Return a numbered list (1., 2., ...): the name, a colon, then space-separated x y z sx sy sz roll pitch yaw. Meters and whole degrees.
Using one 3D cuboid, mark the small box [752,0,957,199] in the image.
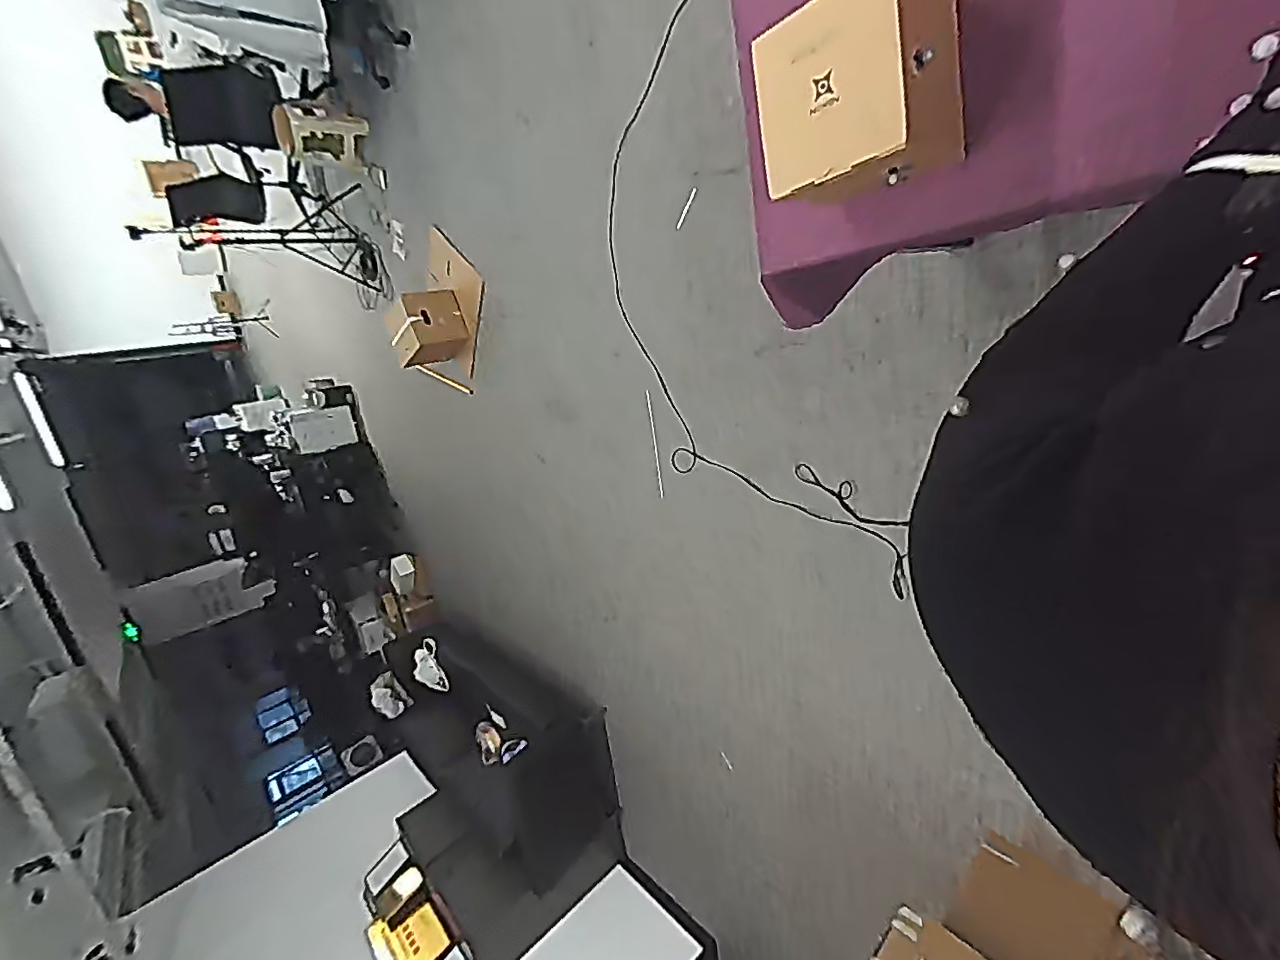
1. small box: 0.257 -0.448 0.637 0.168 0.176 0.179 4 109 47
